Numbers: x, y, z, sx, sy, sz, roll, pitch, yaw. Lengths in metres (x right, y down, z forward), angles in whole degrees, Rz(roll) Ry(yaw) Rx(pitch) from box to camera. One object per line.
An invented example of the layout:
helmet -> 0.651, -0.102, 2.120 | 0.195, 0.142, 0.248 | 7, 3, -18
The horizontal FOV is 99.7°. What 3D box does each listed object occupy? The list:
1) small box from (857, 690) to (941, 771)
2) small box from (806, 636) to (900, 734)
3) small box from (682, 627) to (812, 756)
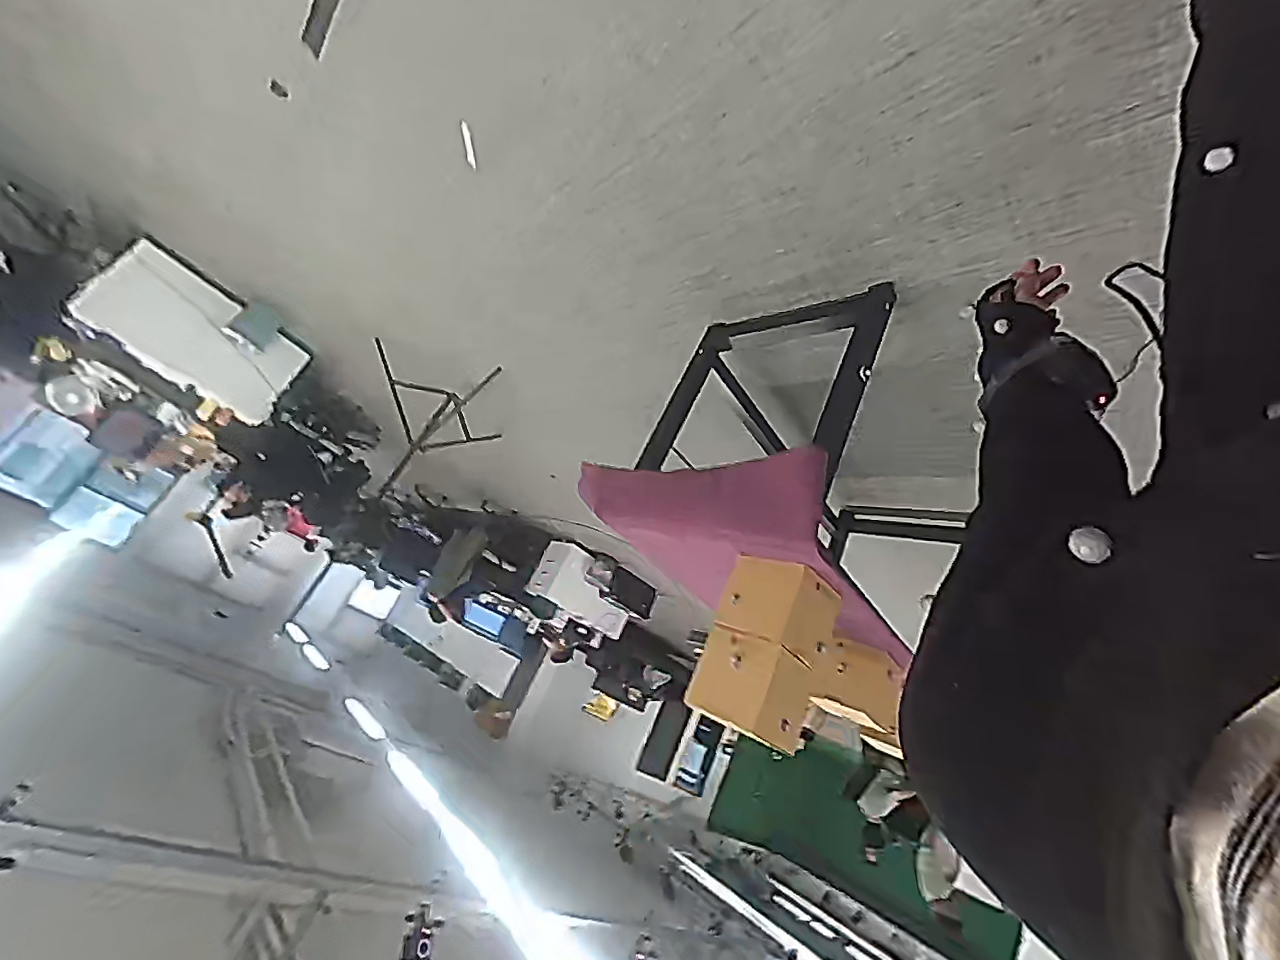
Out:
small box -> 0.784, 0.736, 1.623 | 0.179, 0.176, 0.168 | 4, 148, 47
small box -> 0.552, 0.525, 1.405 | 0.168, 0.176, 0.179 | 2, 148, 46
small box -> 0.222, 0.420, 1.087 | 0.168, 0.176, 0.179 | 4, 150, 45
